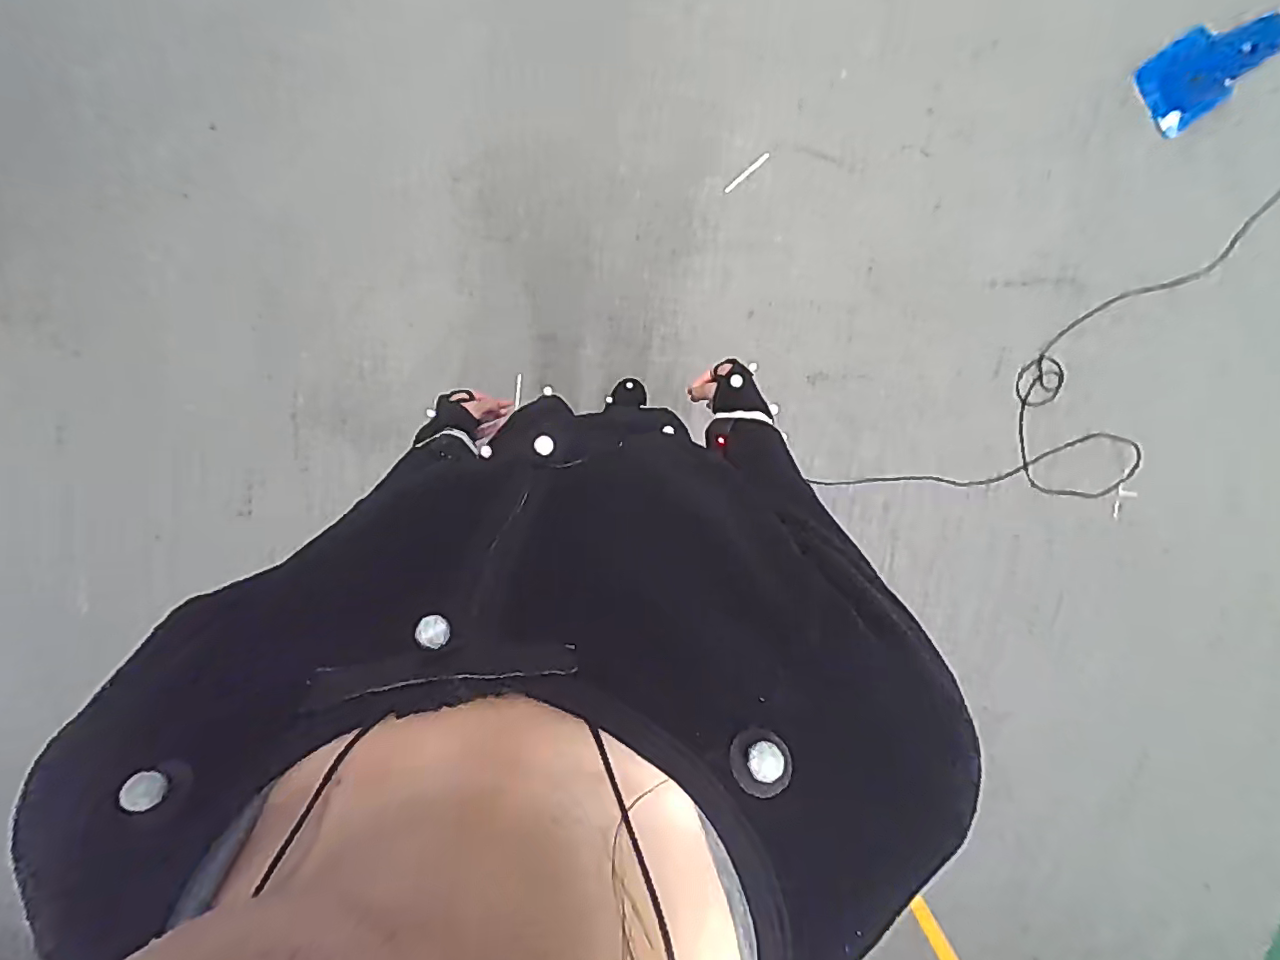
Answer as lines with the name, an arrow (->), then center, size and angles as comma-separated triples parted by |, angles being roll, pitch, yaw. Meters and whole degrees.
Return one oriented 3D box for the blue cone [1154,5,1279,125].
blue cone -> 1.383, -0.975, 1.173 | 0.192, 0.380, 0.193 | -38, 98, 6
